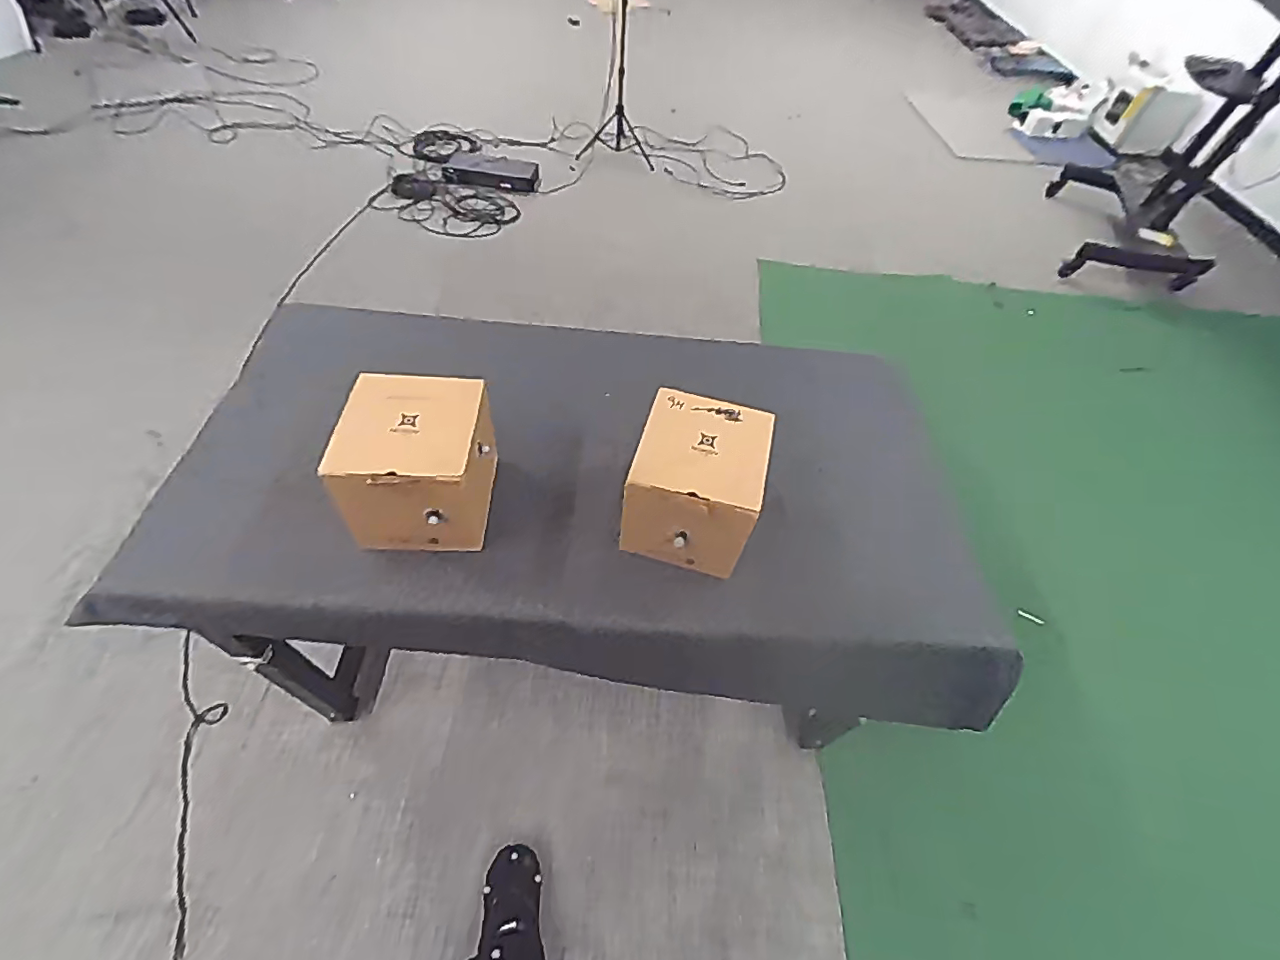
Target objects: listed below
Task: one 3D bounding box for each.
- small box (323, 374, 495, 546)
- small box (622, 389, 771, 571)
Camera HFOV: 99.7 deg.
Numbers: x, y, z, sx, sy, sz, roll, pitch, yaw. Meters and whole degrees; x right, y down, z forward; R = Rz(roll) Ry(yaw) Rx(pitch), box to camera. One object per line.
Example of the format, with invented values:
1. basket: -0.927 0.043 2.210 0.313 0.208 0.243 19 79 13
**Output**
1. small box: -0.299 -0.023 0.747 0.168 0.176 0.179 2 50 -7
2. small box: 0.074 0.004 0.768 0.168 0.176 0.179 15 53 5
